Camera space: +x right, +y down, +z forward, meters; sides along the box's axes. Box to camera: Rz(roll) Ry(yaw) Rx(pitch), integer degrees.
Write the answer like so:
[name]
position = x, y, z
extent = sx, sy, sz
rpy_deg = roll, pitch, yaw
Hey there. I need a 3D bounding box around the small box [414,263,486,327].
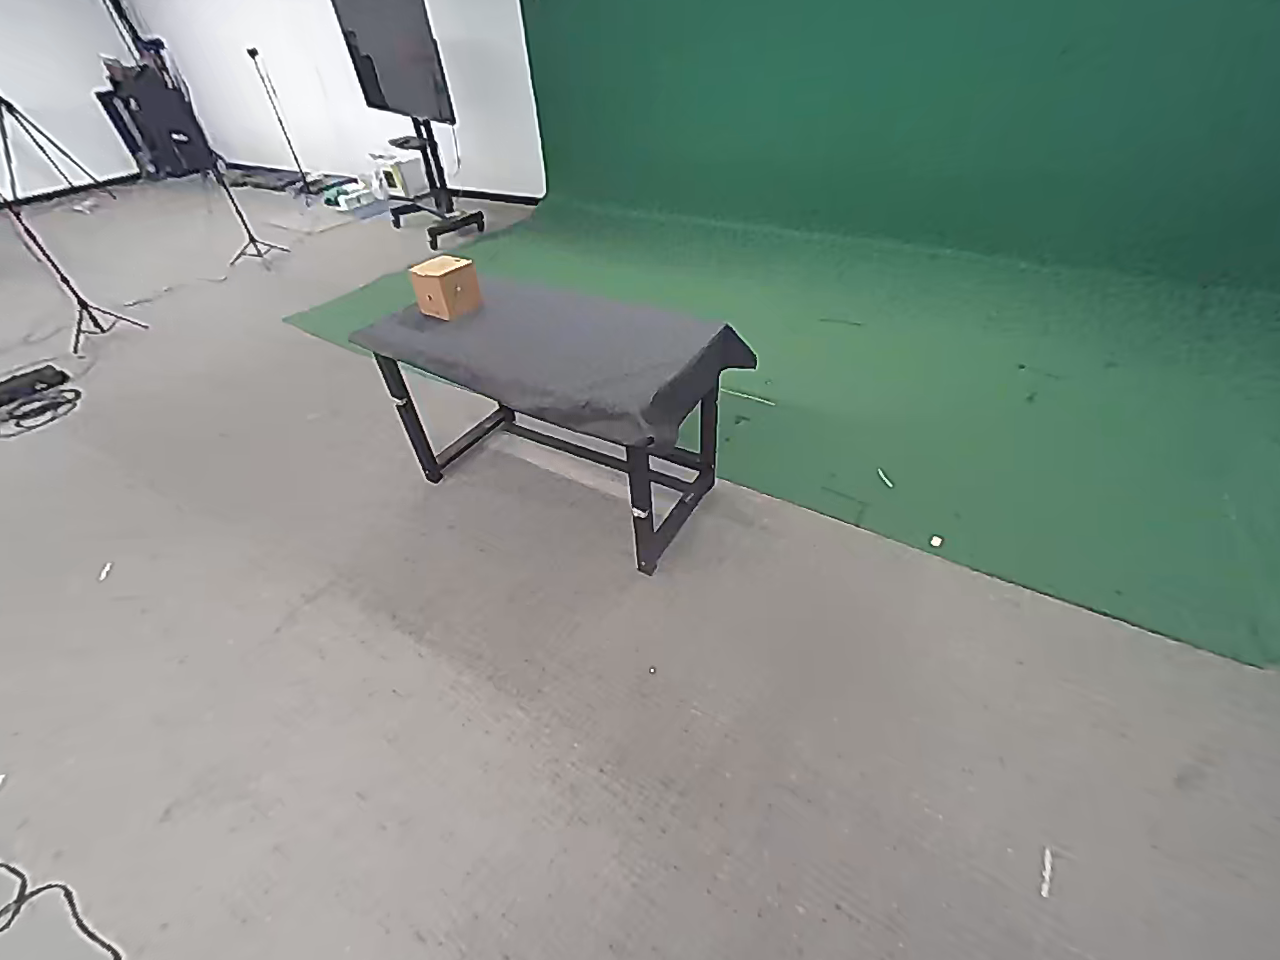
[small box]
position = -0.717, -0.703, 2.059
extent = 0.168, 0.176, 0.179
rpy_deg = 21, 47, 26
